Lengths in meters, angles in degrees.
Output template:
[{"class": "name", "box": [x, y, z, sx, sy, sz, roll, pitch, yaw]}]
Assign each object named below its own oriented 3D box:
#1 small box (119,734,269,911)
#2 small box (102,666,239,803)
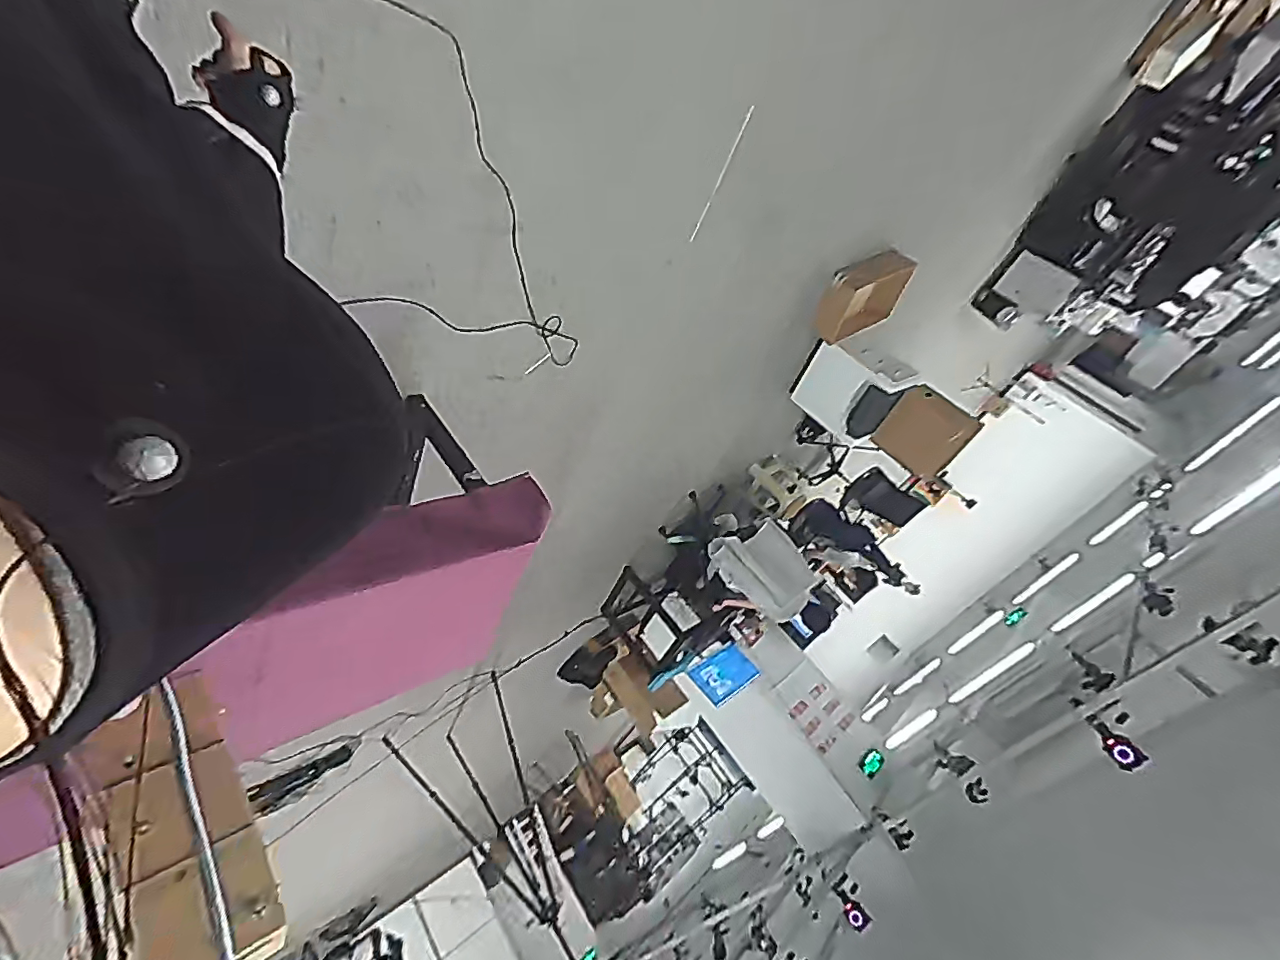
[{"class": "small box", "box": [-0.776, 0.588, 0.945, 0.179, 0.176, 0.168, -14, 143, -45]}, {"class": "small box", "box": [-0.882, 0.491, 1.025, 0.179, 0.176, 0.168, -16, 144, -43]}]
